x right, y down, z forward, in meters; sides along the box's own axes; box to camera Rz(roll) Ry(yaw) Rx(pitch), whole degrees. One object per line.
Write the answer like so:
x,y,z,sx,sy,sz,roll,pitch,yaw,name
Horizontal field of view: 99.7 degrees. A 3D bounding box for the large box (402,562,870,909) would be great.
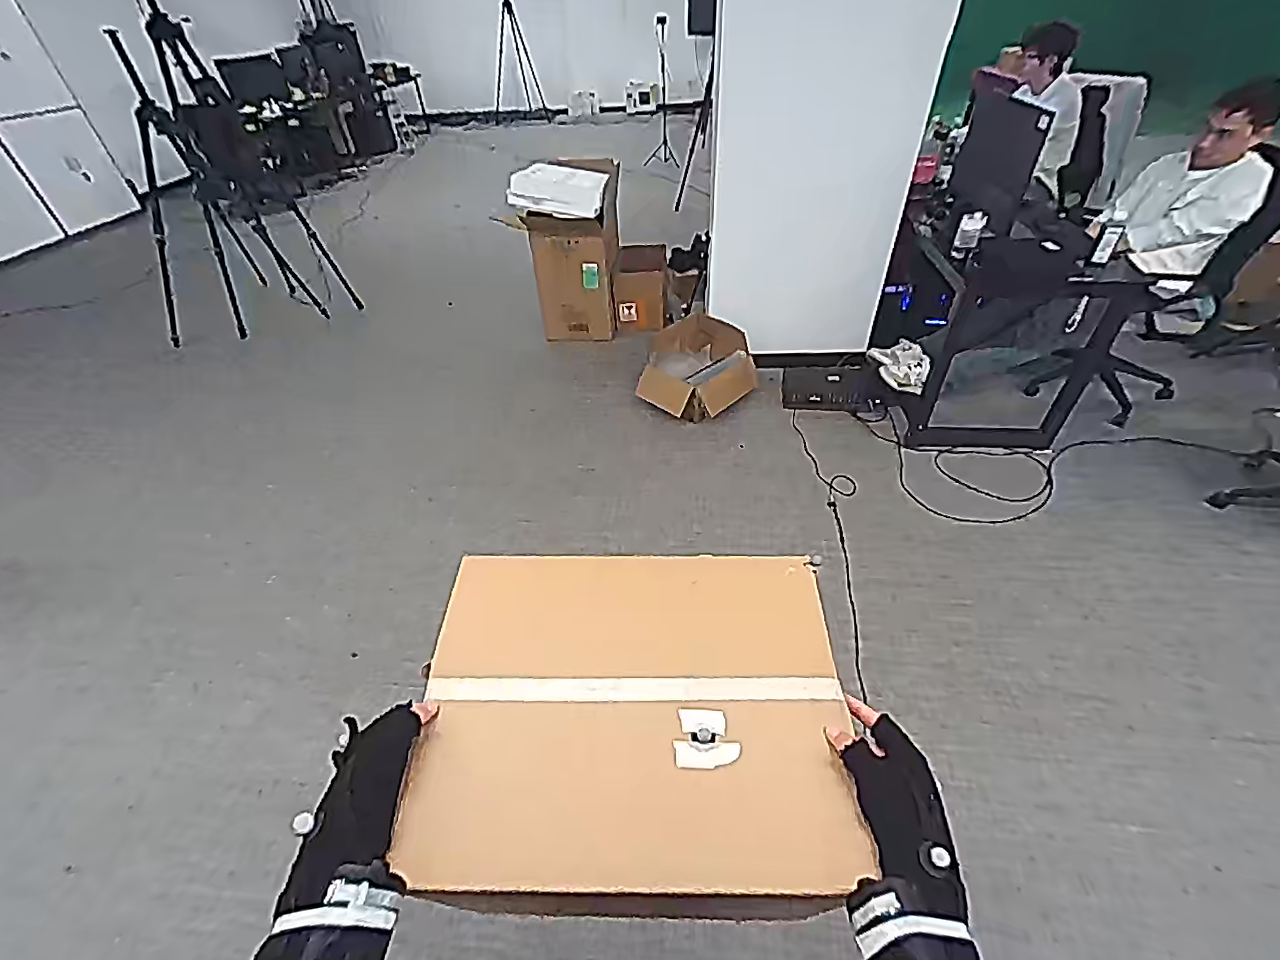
-0.004,0.313,0.659,0.408,0.320,0.320,0,49,1,large box
